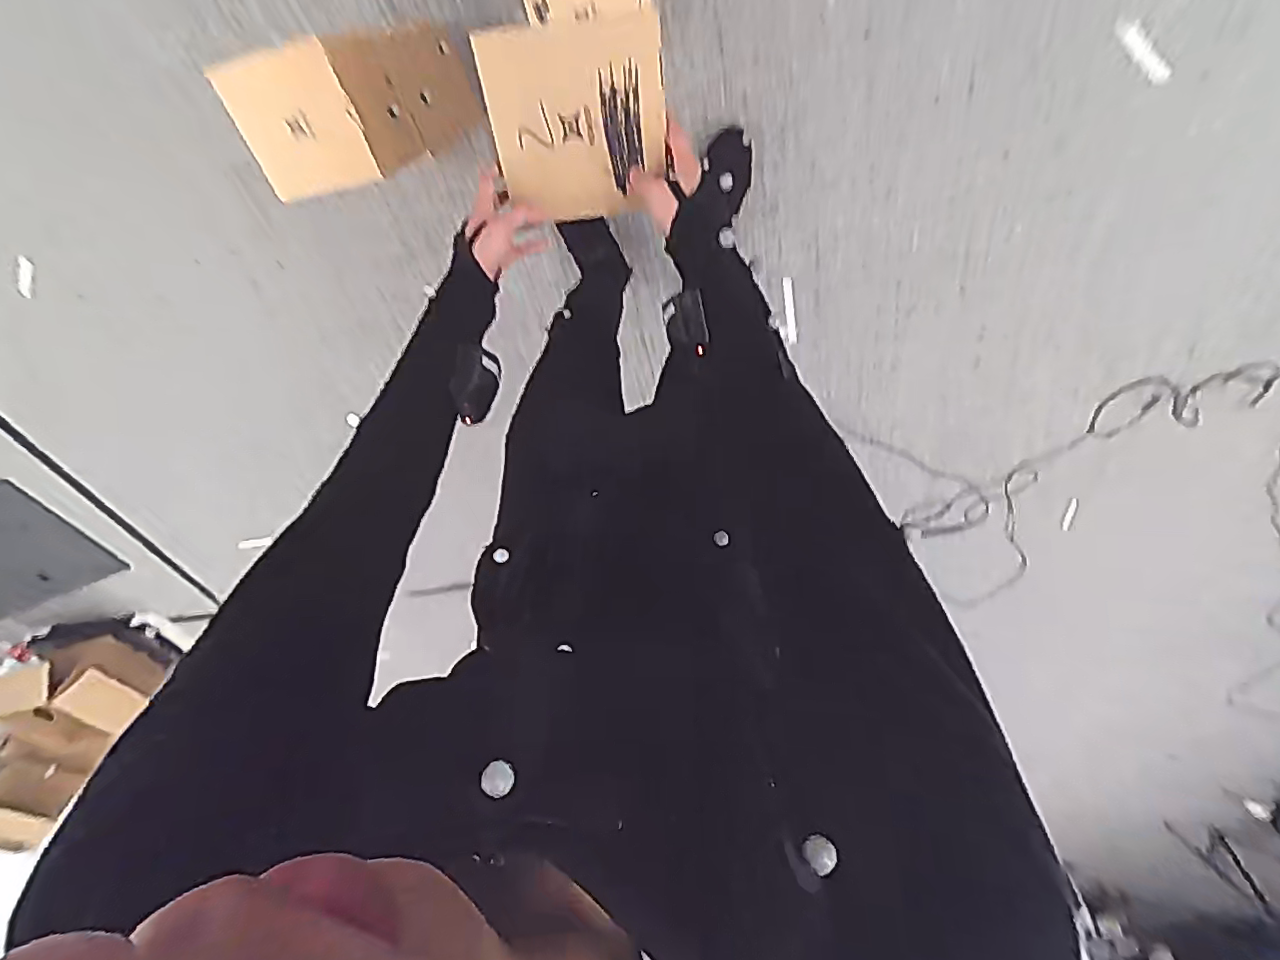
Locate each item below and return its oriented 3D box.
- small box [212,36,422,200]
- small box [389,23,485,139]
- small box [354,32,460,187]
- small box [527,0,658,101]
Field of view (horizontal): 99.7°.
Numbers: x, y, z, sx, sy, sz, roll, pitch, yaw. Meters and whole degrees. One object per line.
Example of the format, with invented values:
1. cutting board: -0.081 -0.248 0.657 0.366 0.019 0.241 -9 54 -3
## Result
1. small box: -0.463 -0.542 0.810 0.179 0.176 0.168 -7 130 10
2. small box: -0.431 -0.754 1.056 0.168 0.176 0.179 -13 129 14
3. small box: -0.443 -0.642 0.937 0.168 0.176 0.179 -11 130 13
4. small box: -0.071 -0.721 0.852 0.179 0.176 0.168 -8 130 7
